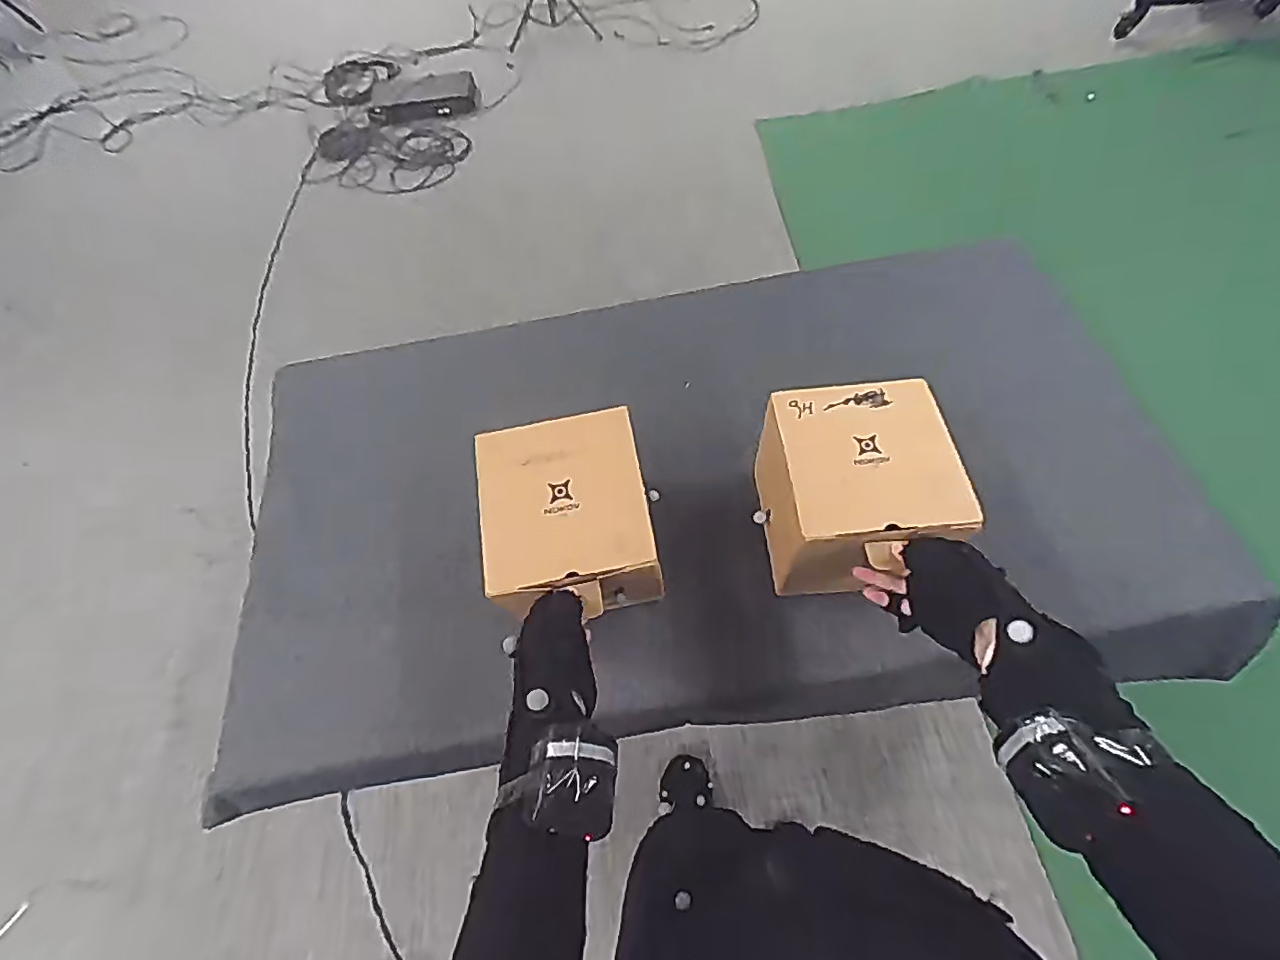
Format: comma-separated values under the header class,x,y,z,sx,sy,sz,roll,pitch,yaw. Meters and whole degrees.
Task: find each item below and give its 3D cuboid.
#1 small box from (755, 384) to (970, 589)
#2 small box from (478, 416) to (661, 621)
class,x,y,z,sx,sy,sz,roll,pitch,yaw
small box,0.230,0.018,0.613,0.168,0.176,0.179,-6,61,3
small box,-0.073,0.055,0.620,0.168,0.176,0.179,-12,65,-1
